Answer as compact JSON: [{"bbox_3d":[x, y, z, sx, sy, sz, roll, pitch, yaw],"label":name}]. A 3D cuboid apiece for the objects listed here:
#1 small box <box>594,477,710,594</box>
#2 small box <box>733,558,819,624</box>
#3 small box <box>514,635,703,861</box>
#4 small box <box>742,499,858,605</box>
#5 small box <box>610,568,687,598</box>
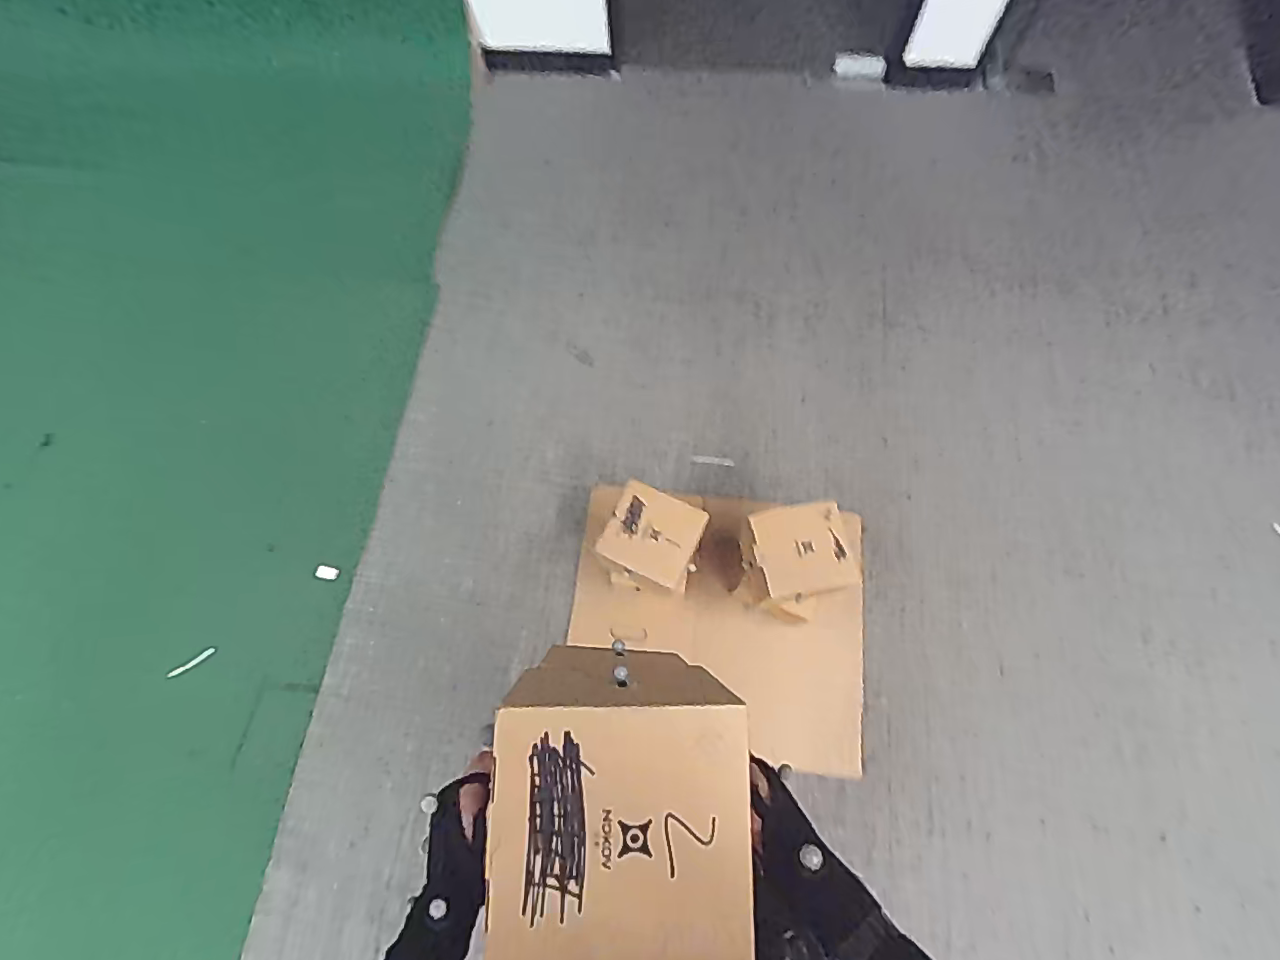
[{"bbox_3d":[0.025,0.124,1.121,0.179,0.176,0.168,25,73,9],"label":"small box"},{"bbox_3d":[0.325,0.215,1.249,0.168,0.176,0.179,25,74,10],"label":"small box"},{"bbox_3d":[-0.033,0.274,0.590,0.168,0.176,0.179,6,80,-4],"label":"small box"},{"bbox_3d":[0.311,0.153,1.098,0.179,0.176,0.168,-10,70,0],"label":"small box"},{"bbox_3d":[0.032,0.175,1.277,0.168,0.176,0.179,8,71,5],"label":"small box"}]
